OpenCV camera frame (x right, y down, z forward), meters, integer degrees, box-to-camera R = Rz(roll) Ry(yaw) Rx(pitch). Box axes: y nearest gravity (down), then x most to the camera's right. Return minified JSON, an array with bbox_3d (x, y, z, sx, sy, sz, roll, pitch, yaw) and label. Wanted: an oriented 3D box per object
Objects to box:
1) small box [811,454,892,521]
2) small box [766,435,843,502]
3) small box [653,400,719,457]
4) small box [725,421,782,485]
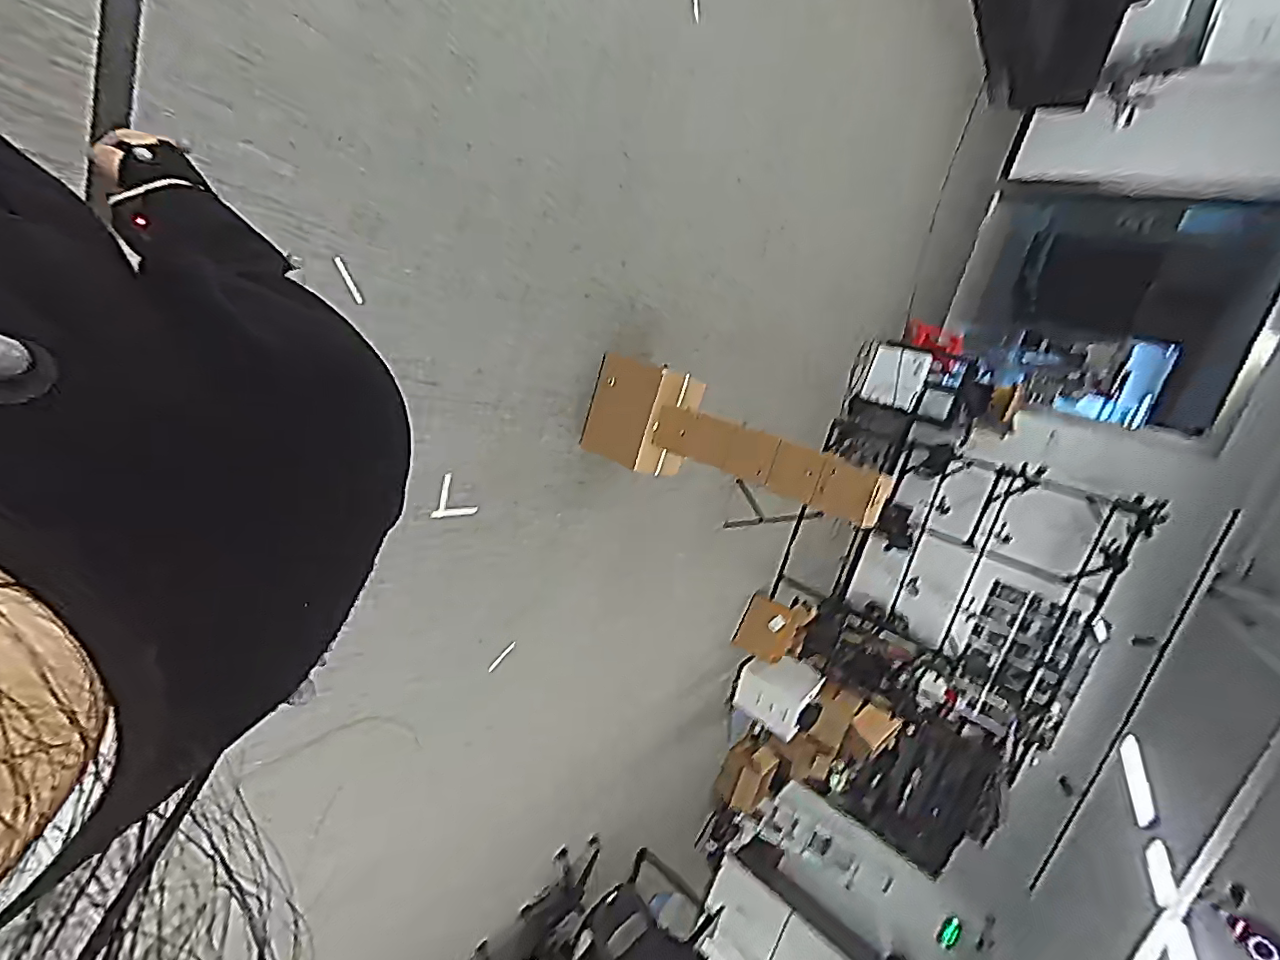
[{"bbox_3d":[0.663,0.023,1.702,0.179,0.176,0.168,5,105,-54],"label":"small box"},{"bbox_3d":[0.541,-0.035,1.795,0.168,0.176,0.179,6,105,-53],"label":"small box"},{"bbox_3d":[0.172,-0.199,2.074,0.168,0.176,0.179,0,111,-51],"label":"small box"},{"bbox_3d":[0.420,-0.090,1.887,0.168,0.176,0.179,5,106,-53],"label":"small box"}]
